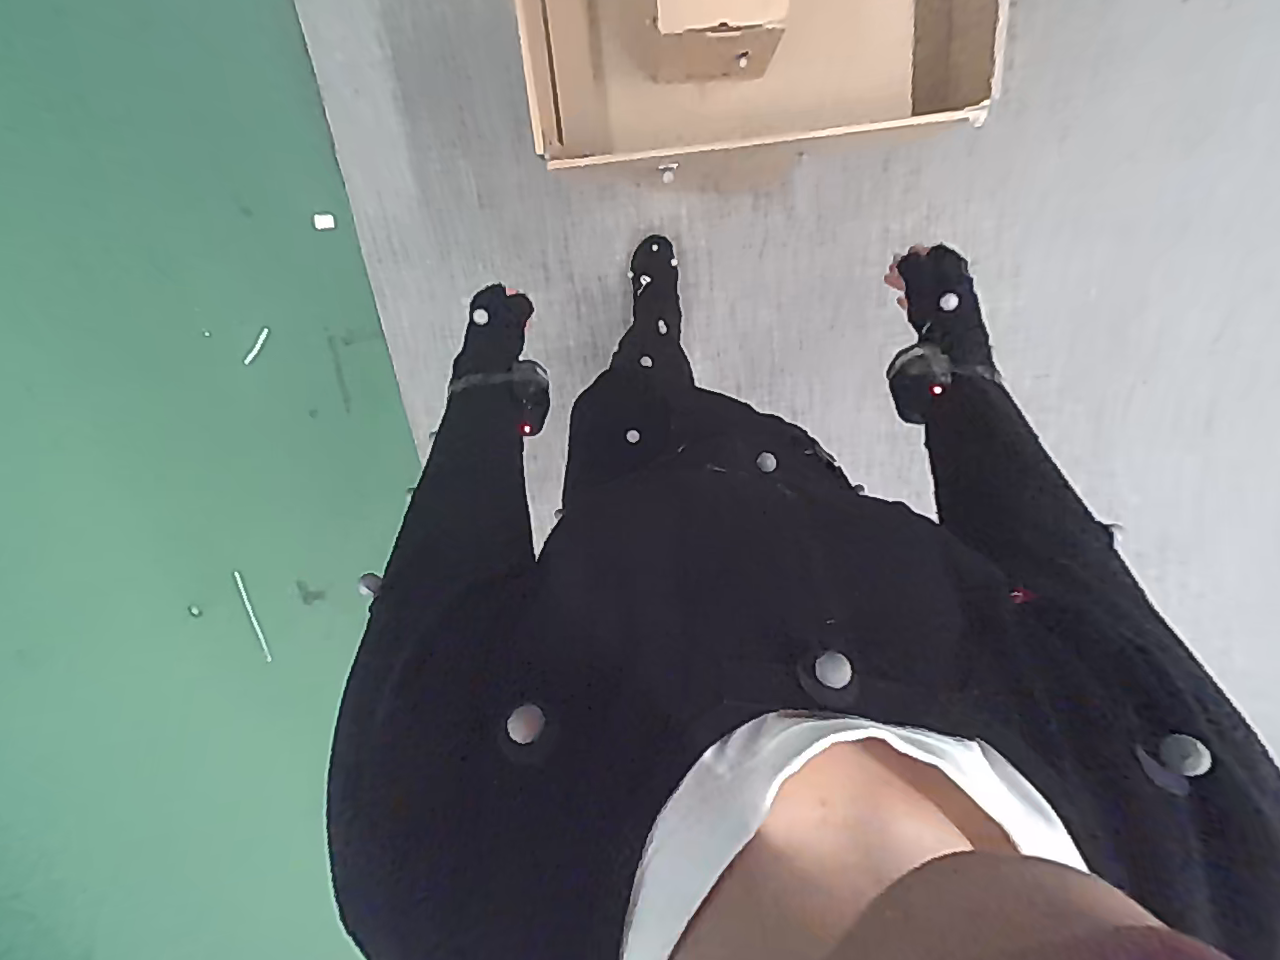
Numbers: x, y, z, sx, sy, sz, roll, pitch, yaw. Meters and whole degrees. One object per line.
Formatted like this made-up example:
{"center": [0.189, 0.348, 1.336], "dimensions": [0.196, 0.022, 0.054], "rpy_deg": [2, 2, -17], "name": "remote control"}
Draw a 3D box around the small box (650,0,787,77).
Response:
{"center": [0.098, -0.668, 0.721], "dimensions": [0.168, 0.176, 0.179], "rpy_deg": [-3, 106, 1], "name": "small box"}
